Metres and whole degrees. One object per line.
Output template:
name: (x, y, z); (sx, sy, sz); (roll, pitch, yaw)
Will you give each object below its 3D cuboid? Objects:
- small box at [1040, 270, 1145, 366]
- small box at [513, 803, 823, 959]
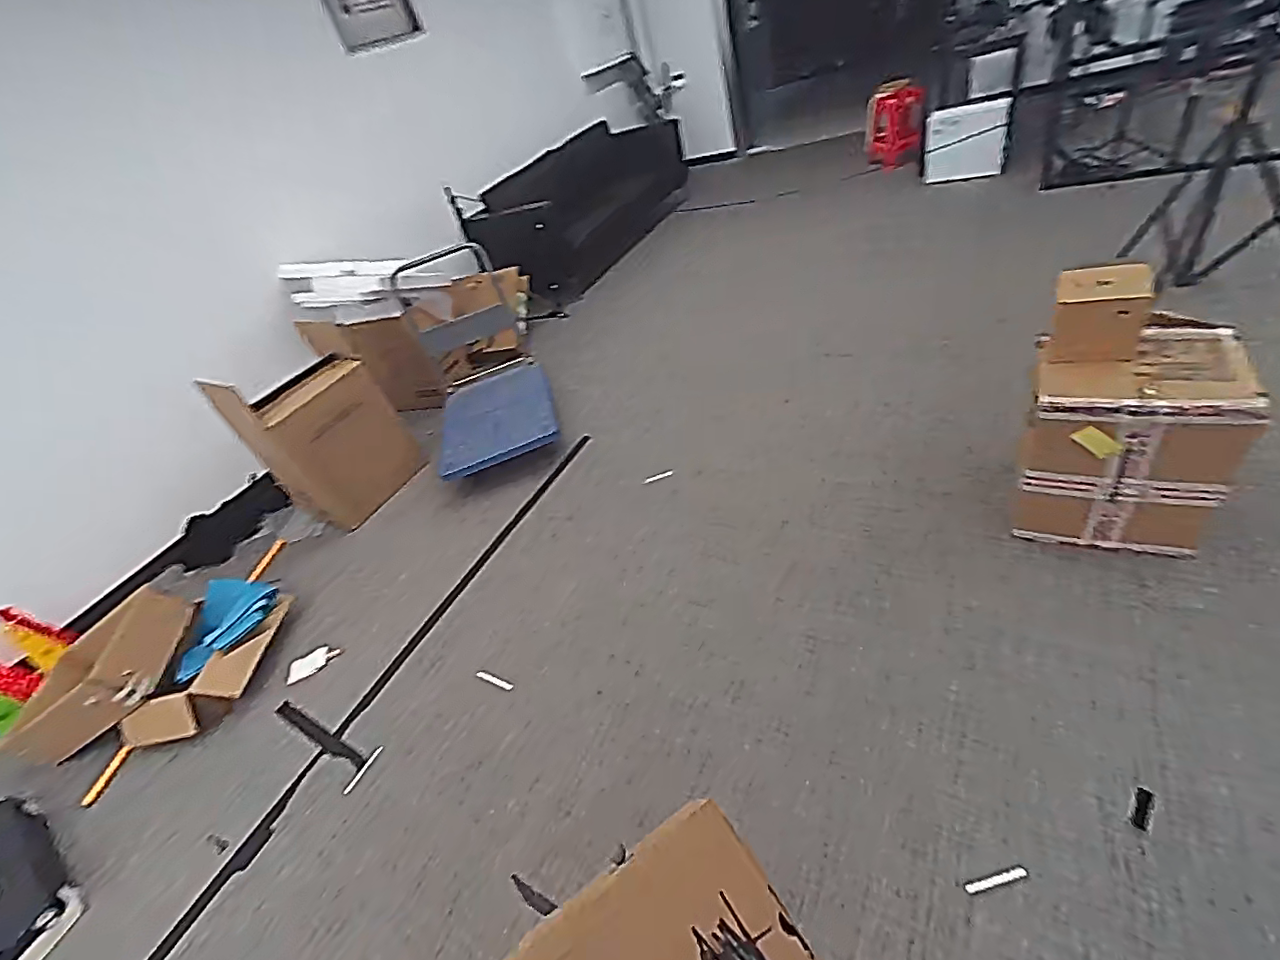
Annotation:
small box: (1.126, -0.401, 1.357); (0.179, 0.176, 0.168); (5, 46, 33)
small box: (0.027, 0.364, 0.390); (0.179, 0.176, 0.168); (-29, 62, -17)
